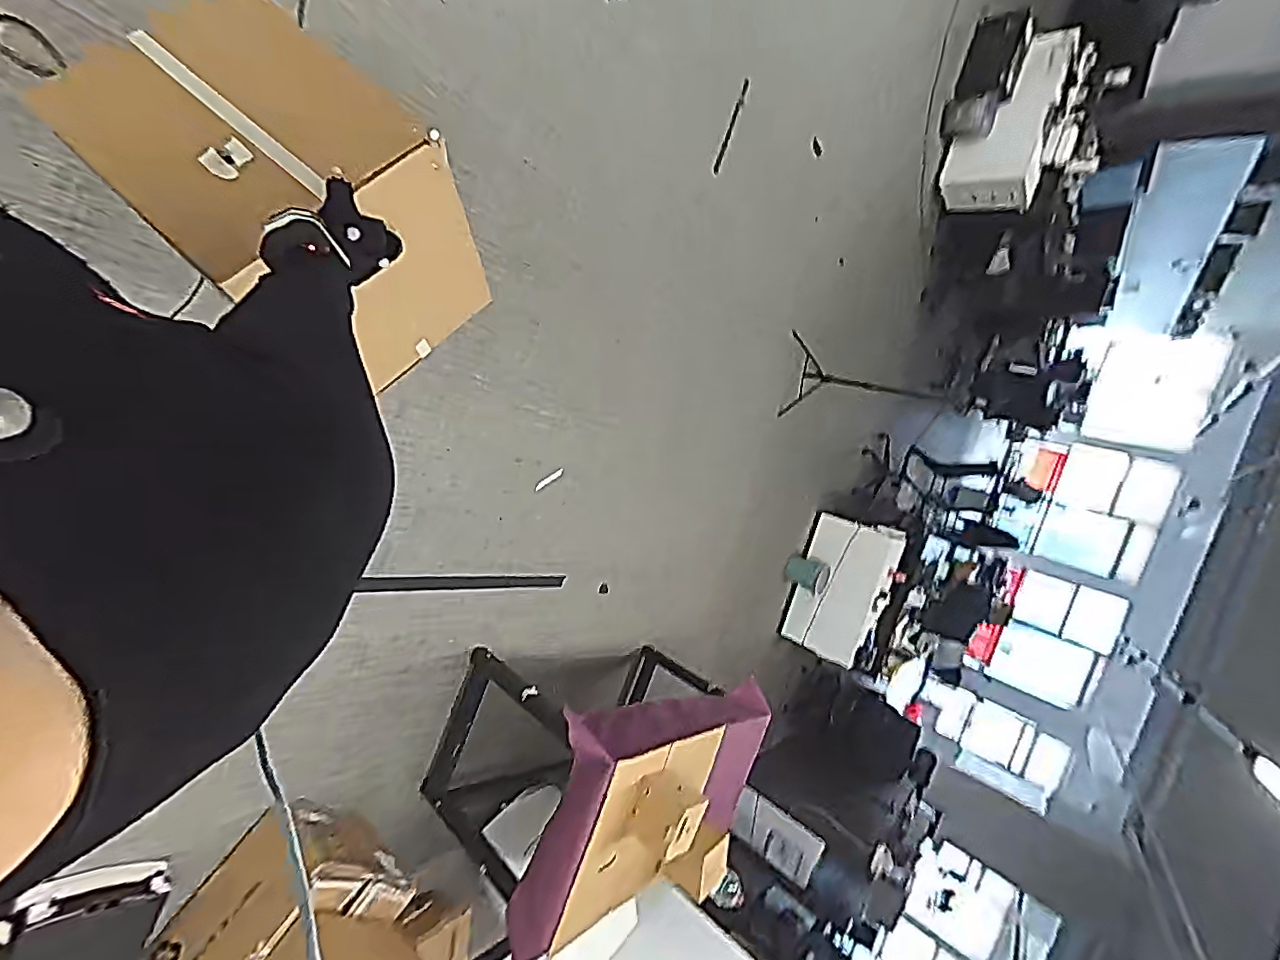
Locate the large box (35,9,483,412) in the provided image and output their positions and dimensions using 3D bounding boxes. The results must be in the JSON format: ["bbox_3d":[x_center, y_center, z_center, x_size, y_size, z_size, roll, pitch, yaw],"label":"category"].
[{"bbox_3d":[-0.512,-0.383,0.819,0.320,0.408,0.320,-47,171,-17],"label":"large box"}]
